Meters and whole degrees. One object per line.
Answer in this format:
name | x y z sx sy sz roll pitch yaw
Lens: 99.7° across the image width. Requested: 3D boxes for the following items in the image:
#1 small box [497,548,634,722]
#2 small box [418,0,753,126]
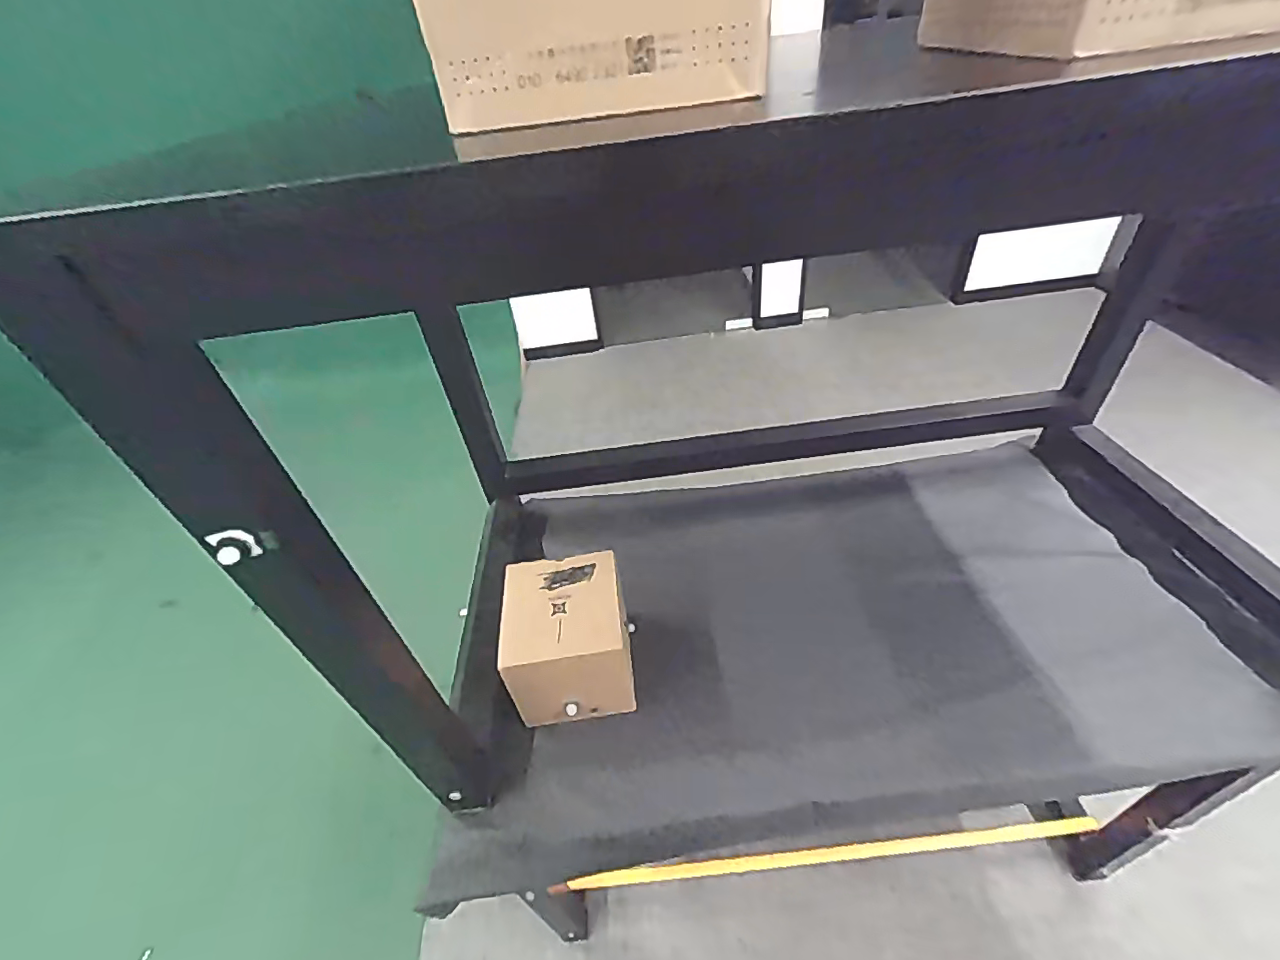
small box | -0.104 0.230 0.806 0.168 0.176 0.179 -9 40 -1
small box | -0.030 -0.307 0.297 0.168 0.176 0.179 -5 39 4
